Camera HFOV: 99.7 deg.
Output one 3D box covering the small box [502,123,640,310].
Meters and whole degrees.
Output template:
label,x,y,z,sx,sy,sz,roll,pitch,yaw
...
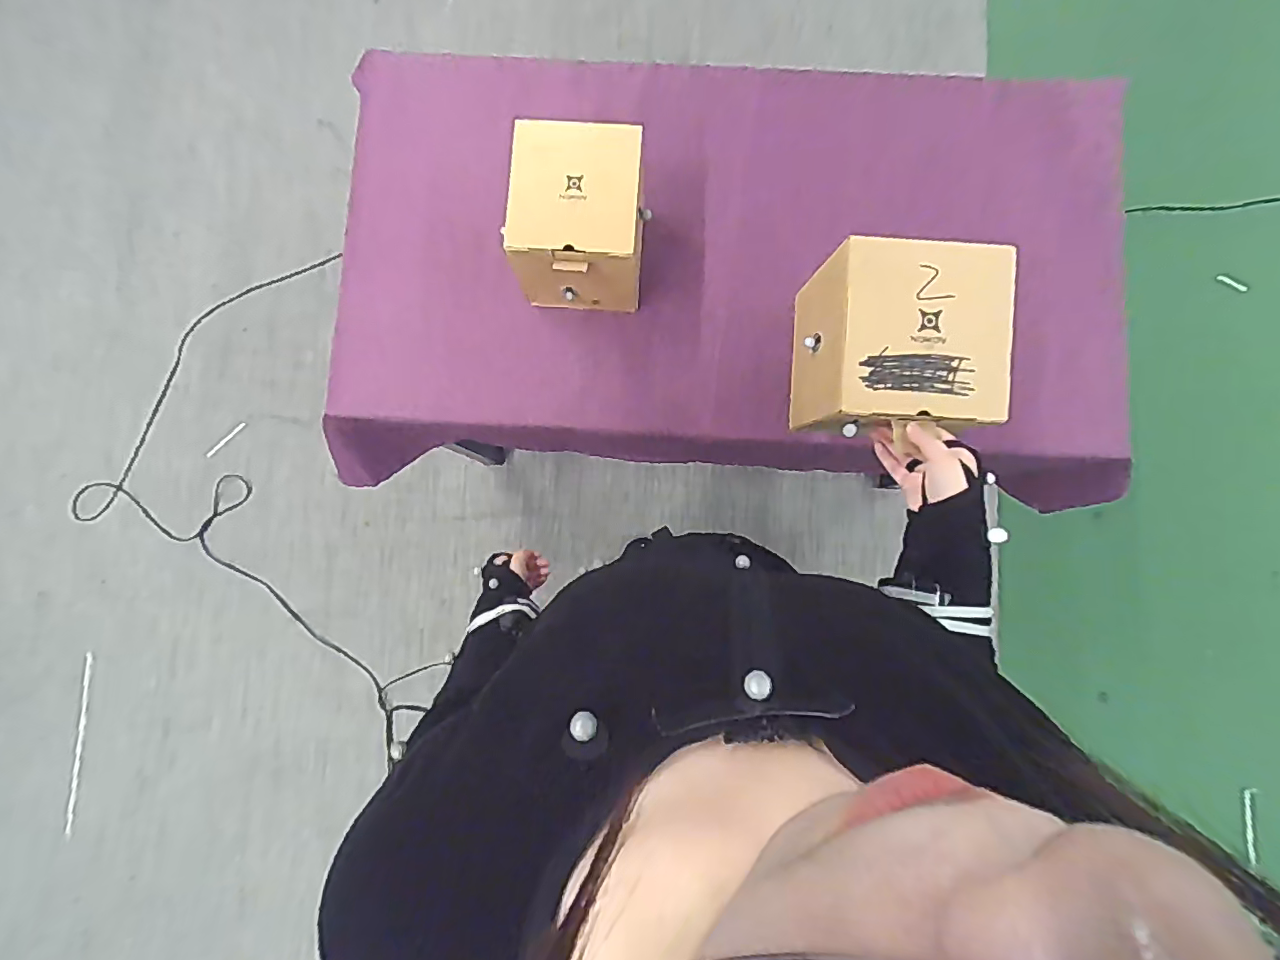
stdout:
label,x,y,z,sx,sy,sz,roll,pitch,yaw
small box,-0.088,-0.365,0.773,0.168,0.176,0.179,4,85,1
